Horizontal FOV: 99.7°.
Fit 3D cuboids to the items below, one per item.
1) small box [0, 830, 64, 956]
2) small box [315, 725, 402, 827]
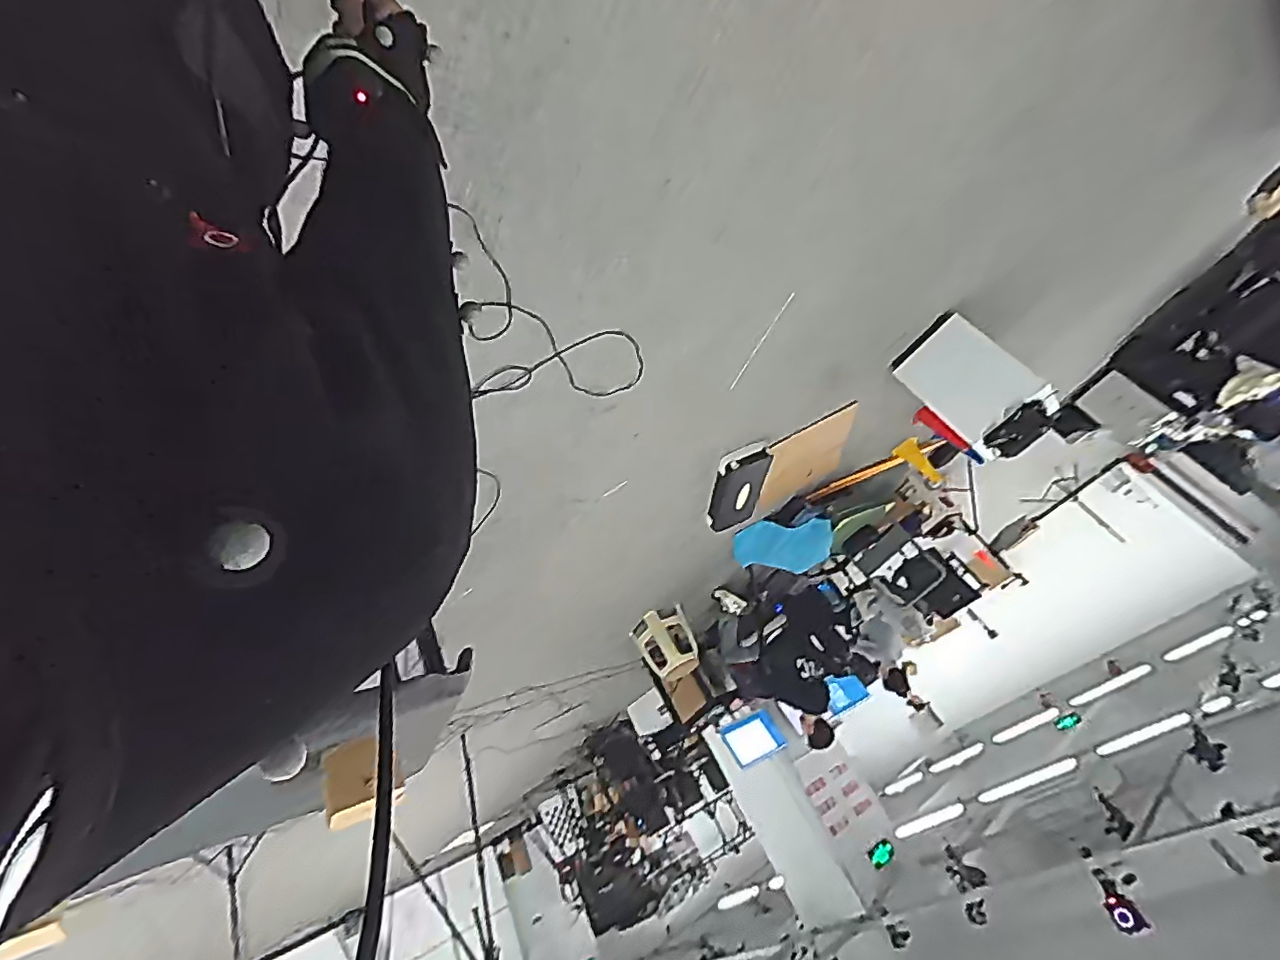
[{"bbox_3d":[-1.261,0.822,1.056,0.179,0.176,0.168,-2,140,-40],"label":"small box"},{"bbox_3d":[-0.764,0.793,1.462,0.179,0.176,0.168,-4,139,-37],"label":"small box"}]
